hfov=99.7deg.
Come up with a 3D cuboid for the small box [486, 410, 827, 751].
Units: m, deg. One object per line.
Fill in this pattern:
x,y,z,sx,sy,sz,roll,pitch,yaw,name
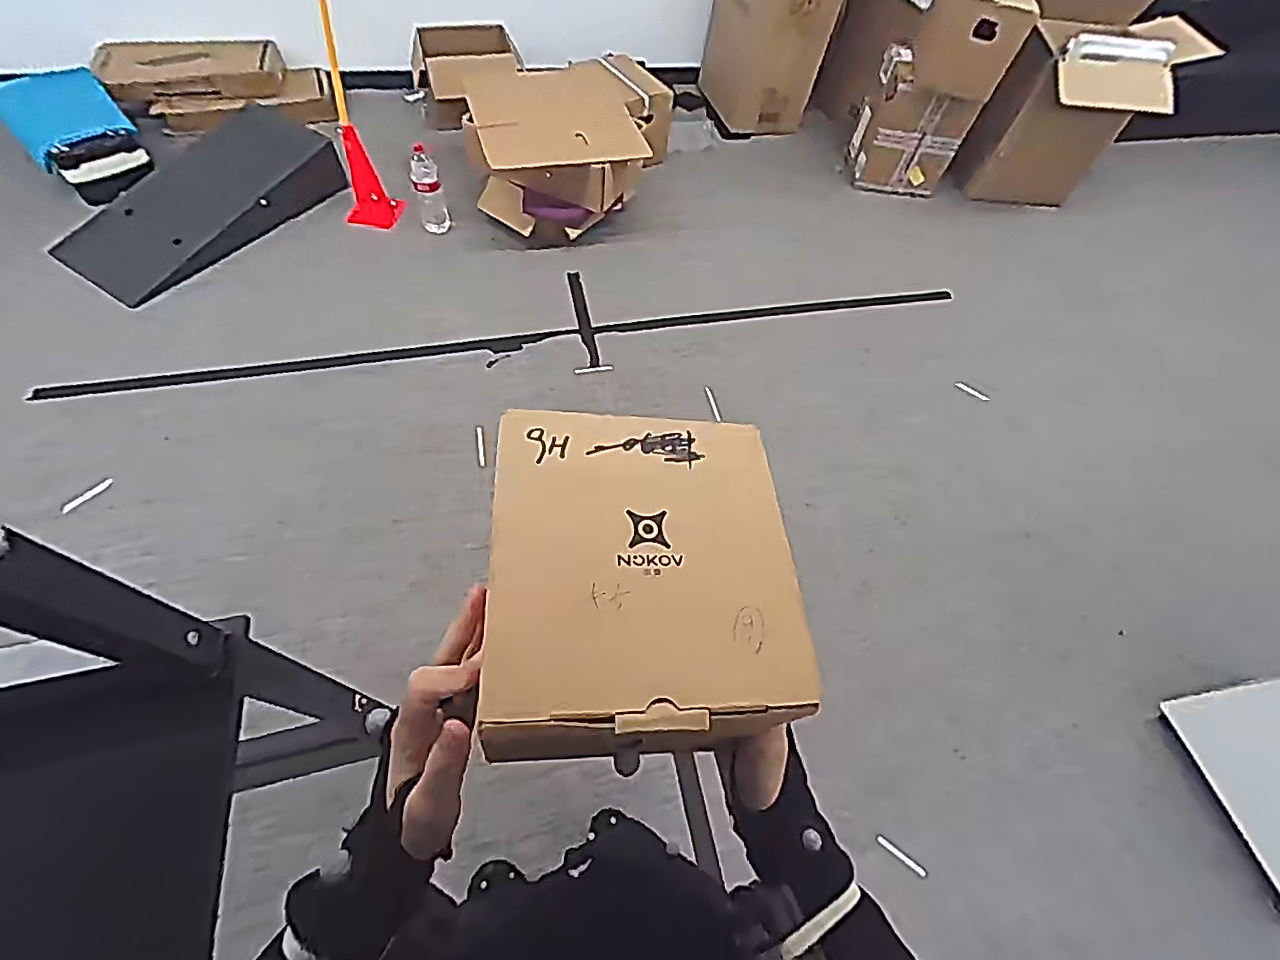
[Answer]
-0.008,0.077,0.358,0.168,0.176,0.179,3,59,-13,small box
